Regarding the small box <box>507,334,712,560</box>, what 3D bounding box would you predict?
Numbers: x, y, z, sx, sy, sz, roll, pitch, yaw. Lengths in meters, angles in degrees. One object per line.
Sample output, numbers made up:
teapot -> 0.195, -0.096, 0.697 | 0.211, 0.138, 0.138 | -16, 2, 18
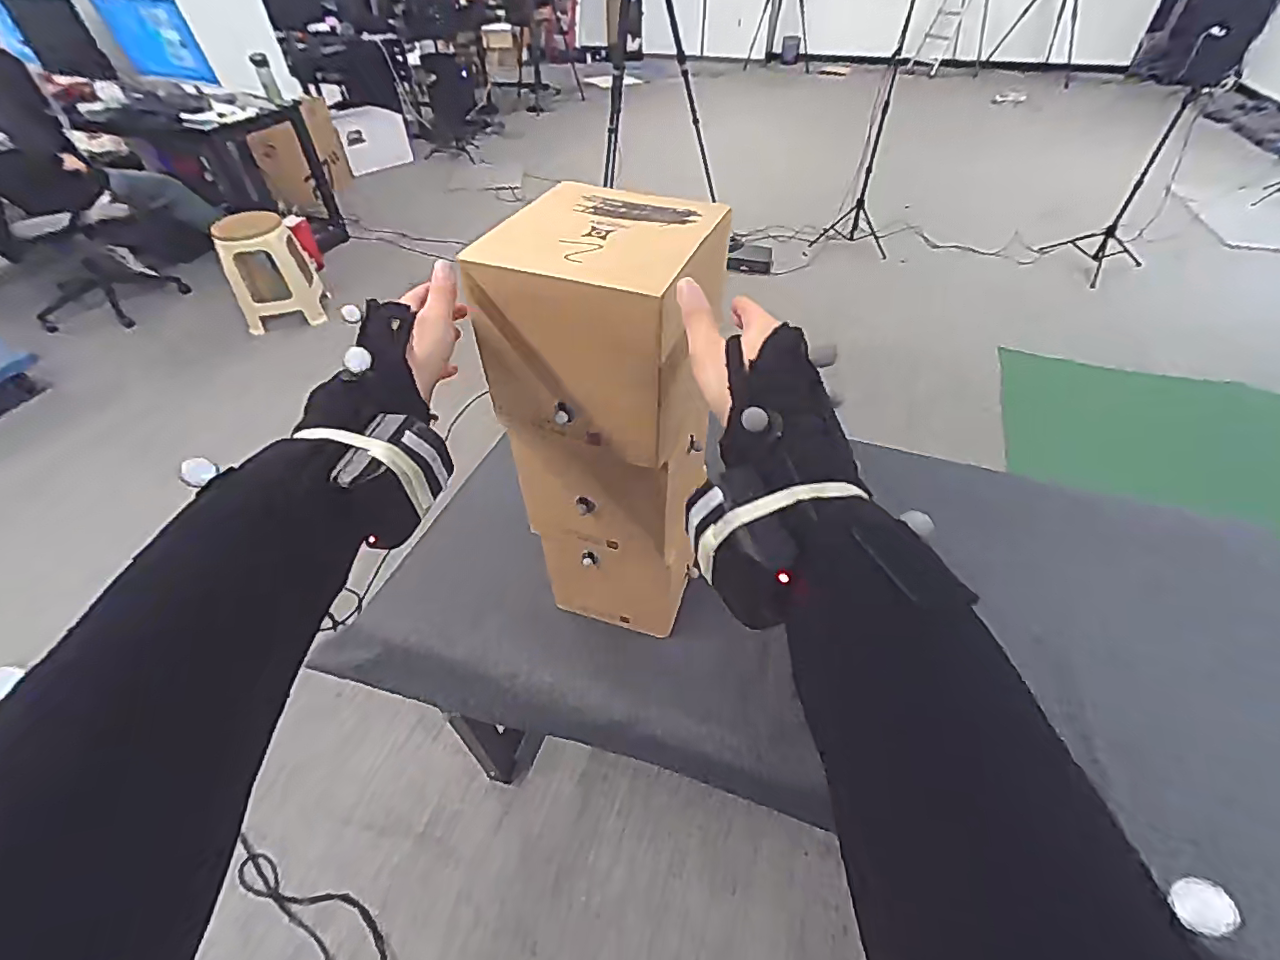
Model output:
small box -> -0.024, -0.037, 0.613 | 0.168, 0.176, 0.179 | 15, 47, 13

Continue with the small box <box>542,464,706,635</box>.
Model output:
small box -> -0.017, 0.076, 0.734 | 0.168, 0.176, 0.179 | 14, 47, 13
